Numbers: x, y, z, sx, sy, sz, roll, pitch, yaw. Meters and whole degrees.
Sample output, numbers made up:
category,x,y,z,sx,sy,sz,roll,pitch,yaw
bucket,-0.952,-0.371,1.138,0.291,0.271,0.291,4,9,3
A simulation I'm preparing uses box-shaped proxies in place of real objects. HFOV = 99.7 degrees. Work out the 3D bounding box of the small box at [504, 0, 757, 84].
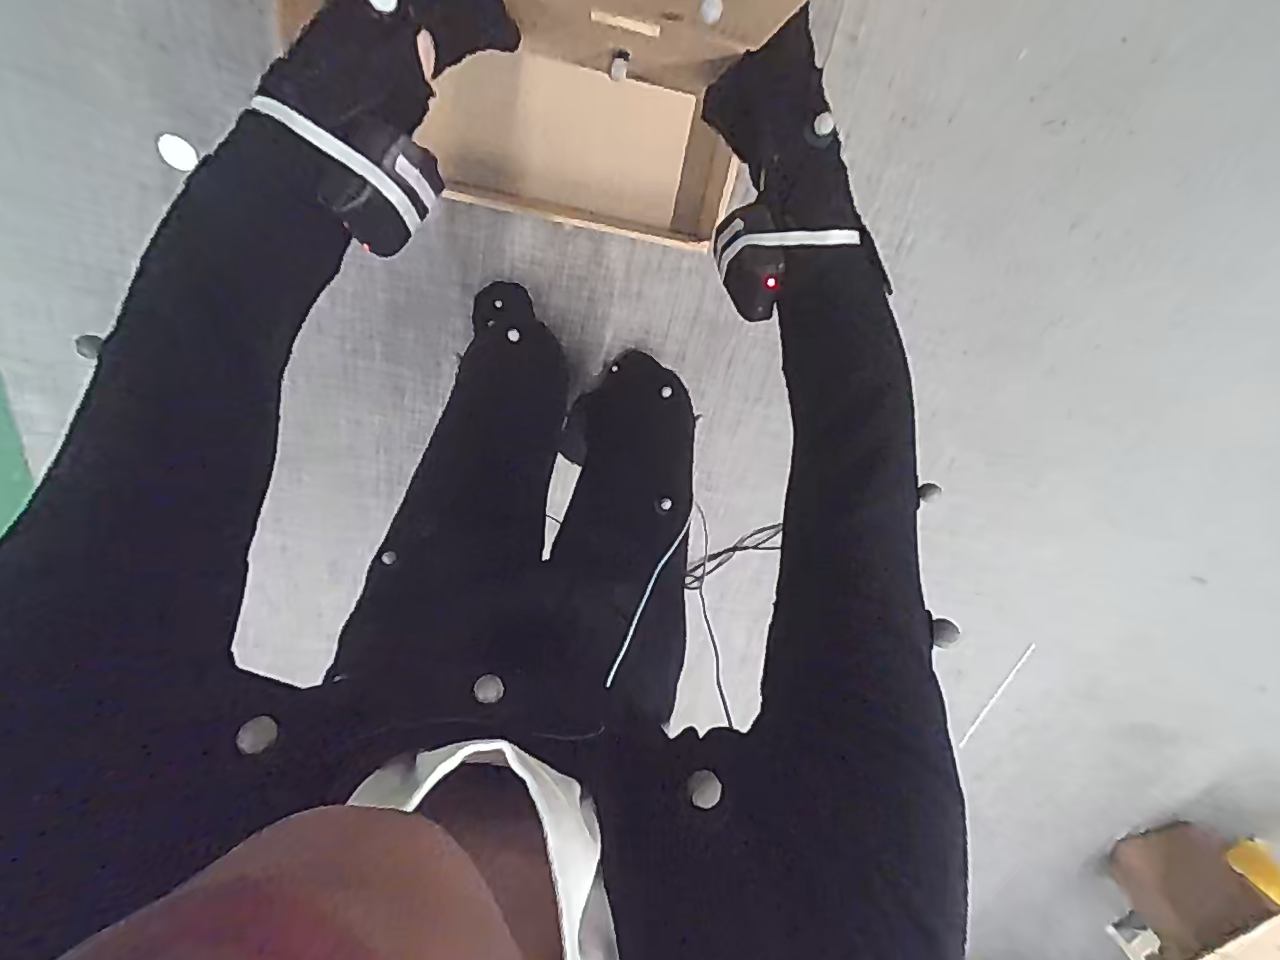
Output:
category,x,y,z,sx,sy,sz,roll,pitch,yaw
small box,0.003,-0.397,0.366,0.168,0.176,0.179,6,115,-6

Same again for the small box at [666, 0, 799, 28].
category,x,y,z,sx,sy,sz,roll,pitch,yaw
small box,0.023,-0.314,0.206,0.168,0.176,0.179,8,116,-8
